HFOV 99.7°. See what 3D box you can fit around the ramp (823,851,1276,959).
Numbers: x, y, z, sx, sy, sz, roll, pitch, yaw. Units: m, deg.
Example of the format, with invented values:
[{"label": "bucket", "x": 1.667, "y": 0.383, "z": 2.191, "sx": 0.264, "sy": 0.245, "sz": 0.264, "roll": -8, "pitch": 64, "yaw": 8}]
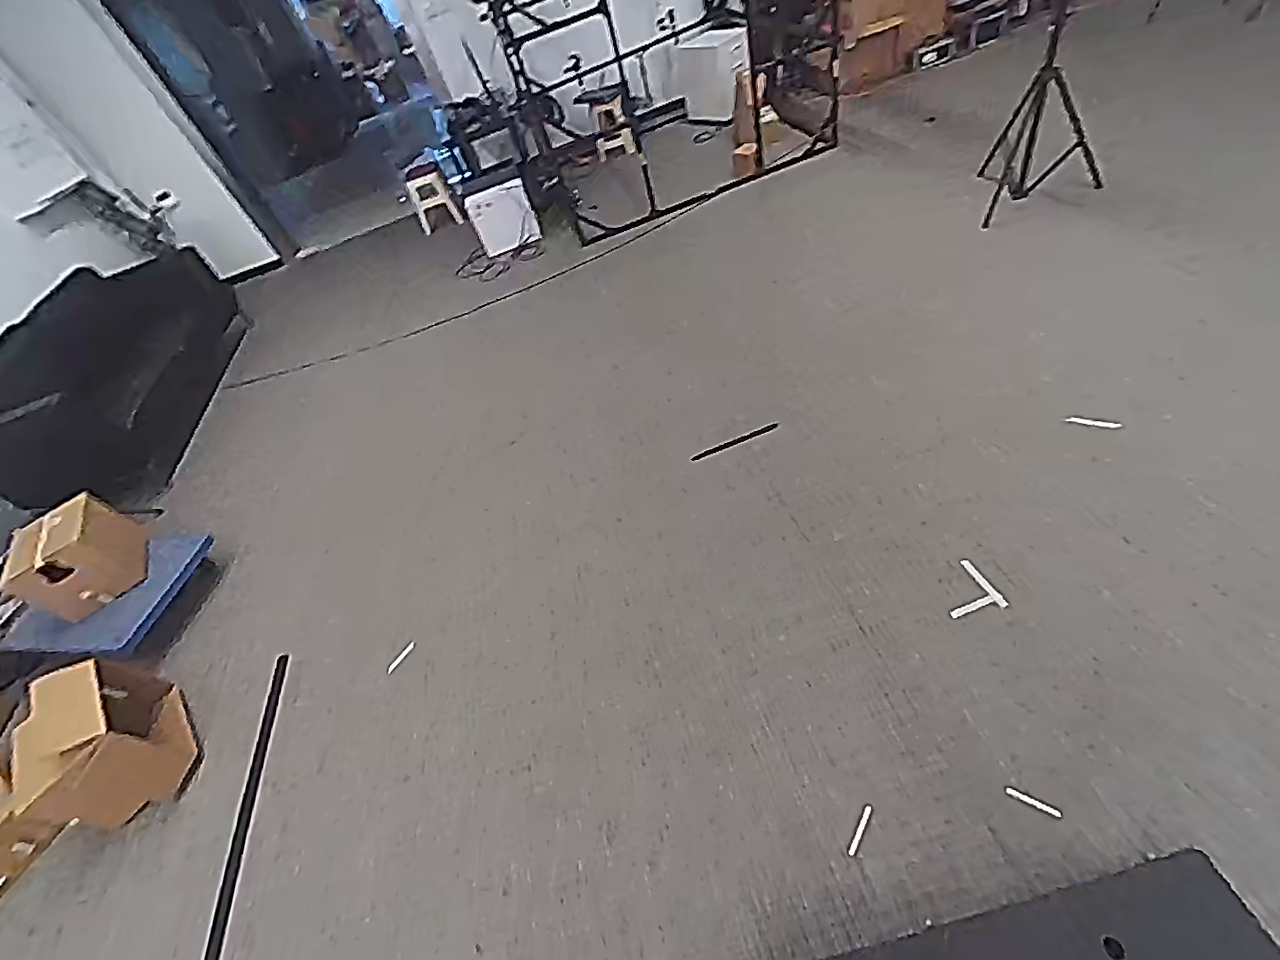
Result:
[{"label": "ramp", "x": 0.726, "y": 1.047, "z": 0.930, "sx": 0.991, "sy": 0.206, "sz": 0.509, "roll": -20, "pitch": 45, "yaw": 1}]
